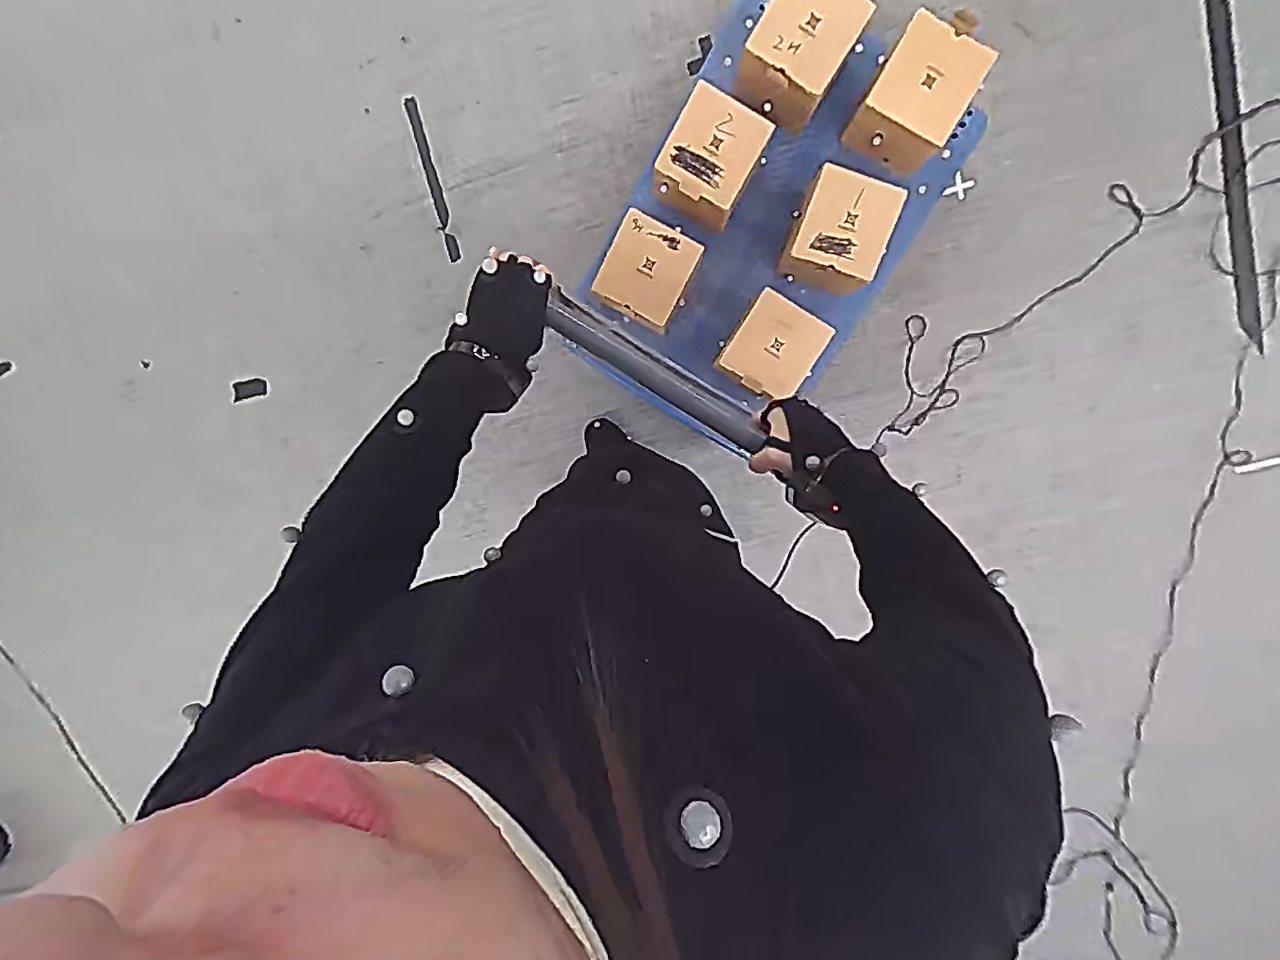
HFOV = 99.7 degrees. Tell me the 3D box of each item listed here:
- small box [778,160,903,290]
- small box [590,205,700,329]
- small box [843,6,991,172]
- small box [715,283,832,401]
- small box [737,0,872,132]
[{"bbox_3d":[0.395,-0.507,1.104,0.168,0.176,0.179,20,101,0],"label":"small box"},{"bbox_3d":[0.015,-0.435,1.141,0.168,0.176,0.179,28,101,-3],"label":"small box"},{"bbox_3d":[0.521,-0.742,1.054,0.168,0.176,0.179,29,101,-2],"label":"small box"},{"bbox_3d":[0.272,-0.286,1.154,0.168,0.176,0.179,32,100,-3],"label":"small box"},{"bbox_3d":[0.304,-0.832,1.048,0.168,0.176,0.179,33,101,-3],"label":"small box"}]
